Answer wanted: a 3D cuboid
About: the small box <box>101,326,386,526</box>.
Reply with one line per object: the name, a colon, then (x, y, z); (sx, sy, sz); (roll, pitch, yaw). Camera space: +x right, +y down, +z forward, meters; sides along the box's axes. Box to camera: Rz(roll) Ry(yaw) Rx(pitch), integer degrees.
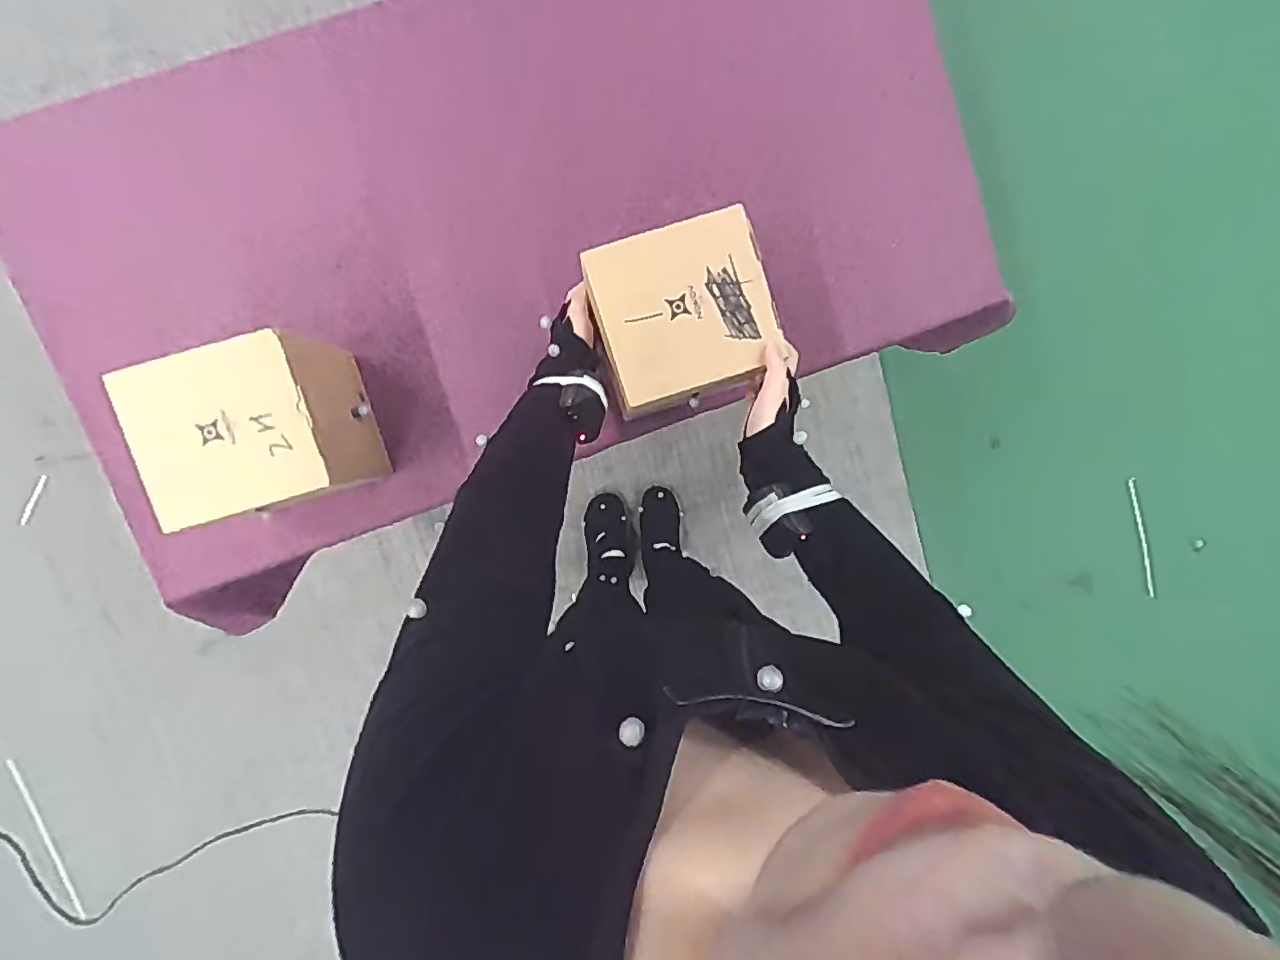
small box: (-0.427, -0.058, 0.616); (0.179, 0.176, 0.168); (-17, 96, -3)
